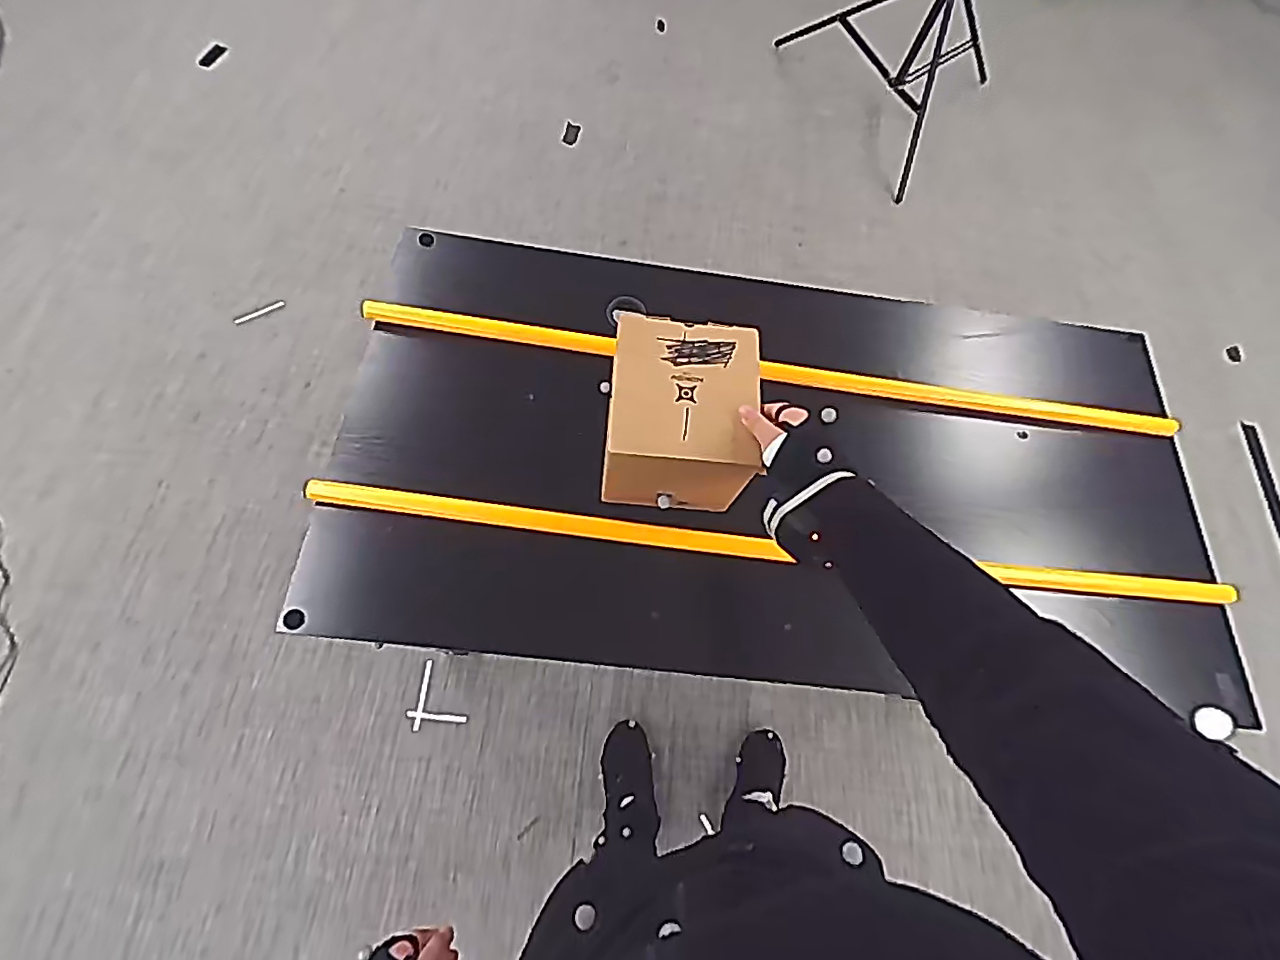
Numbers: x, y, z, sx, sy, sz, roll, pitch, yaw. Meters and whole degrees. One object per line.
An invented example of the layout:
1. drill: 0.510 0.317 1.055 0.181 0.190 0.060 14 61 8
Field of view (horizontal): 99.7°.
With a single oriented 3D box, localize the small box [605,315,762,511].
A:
1. small box: 0.047 -0.075 0.672 0.168 0.176 0.179 5 70 -3
